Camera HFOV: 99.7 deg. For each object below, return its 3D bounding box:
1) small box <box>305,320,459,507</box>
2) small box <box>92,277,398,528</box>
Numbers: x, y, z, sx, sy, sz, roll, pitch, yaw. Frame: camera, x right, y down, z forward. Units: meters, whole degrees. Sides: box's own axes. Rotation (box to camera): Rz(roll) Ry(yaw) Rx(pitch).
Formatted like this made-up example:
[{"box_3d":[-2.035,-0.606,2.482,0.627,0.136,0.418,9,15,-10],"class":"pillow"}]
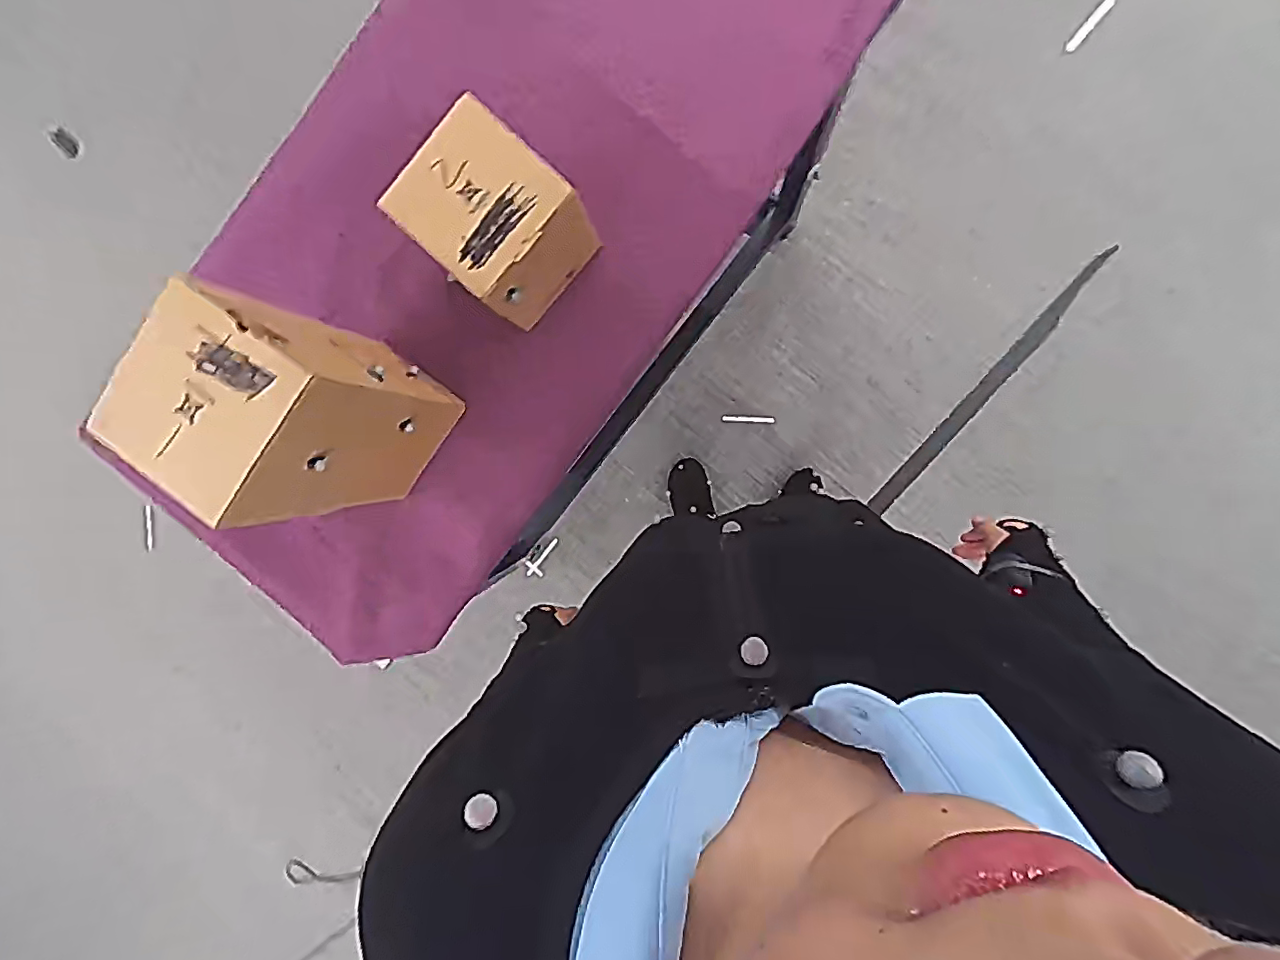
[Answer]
[{"box_3d":[-0.381,-0.082,0.740,0.168,0.176,0.179,36,95,3],"class":"small box"},{"box_3d":[-0.394,-0.074,0.576,0.168,0.176,0.179,36,96,4],"class":"small box"}]
